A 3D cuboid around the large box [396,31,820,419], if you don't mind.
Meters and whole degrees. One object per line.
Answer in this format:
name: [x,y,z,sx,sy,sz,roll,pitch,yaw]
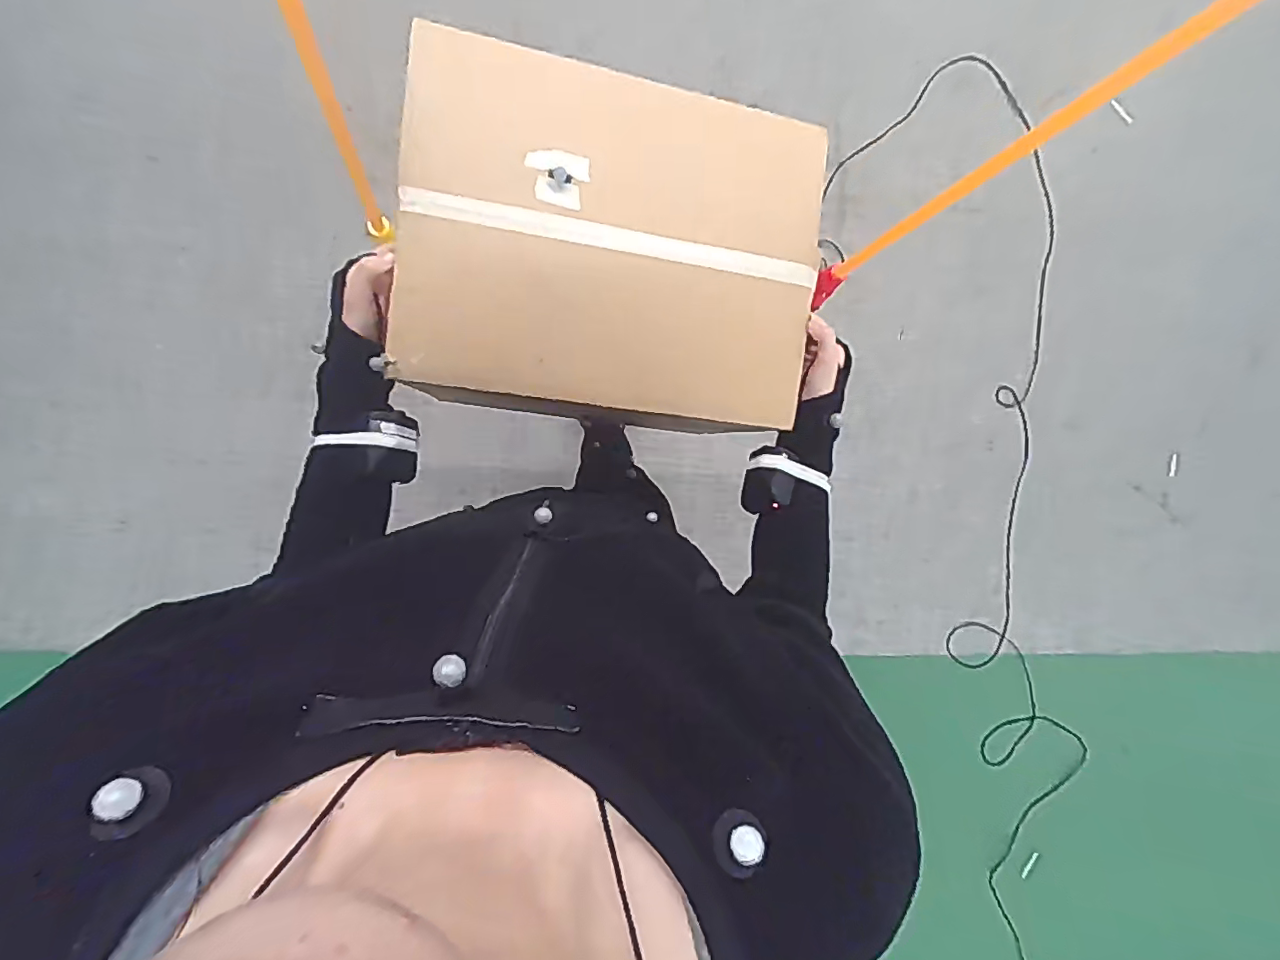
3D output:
large box: [-0.047,-0.248,0.677,0.408,0.320,0.320,6,93,-12]
